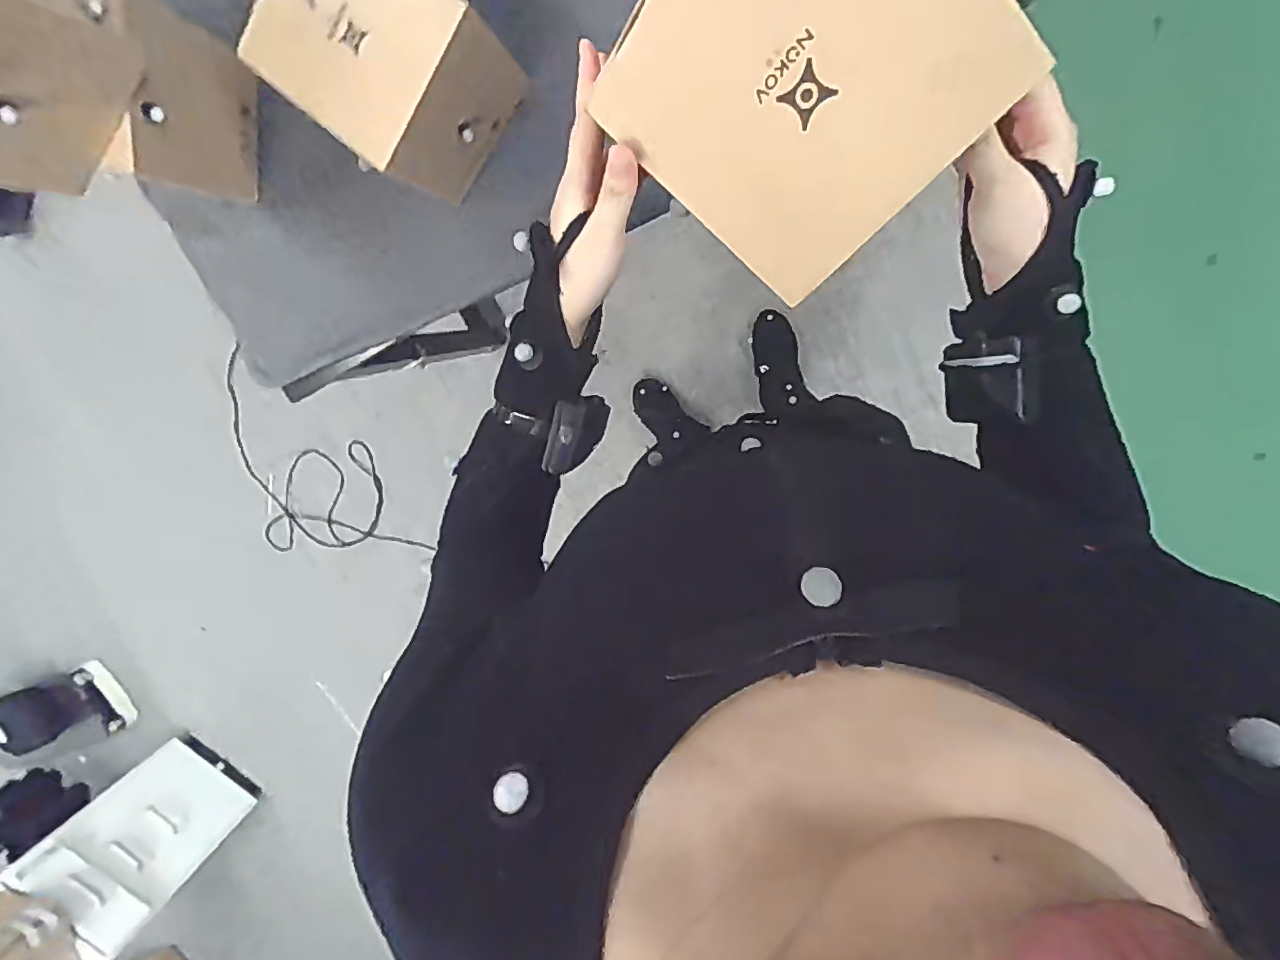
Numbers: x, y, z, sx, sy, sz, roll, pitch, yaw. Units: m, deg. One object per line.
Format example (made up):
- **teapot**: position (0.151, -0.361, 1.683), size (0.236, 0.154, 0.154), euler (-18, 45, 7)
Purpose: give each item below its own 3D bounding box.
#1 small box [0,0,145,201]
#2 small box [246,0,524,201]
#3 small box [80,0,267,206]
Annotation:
- **small box**: position (-0.599, -0.381, 0.471), size (0.168, 0.176, 0.179), euler (44, 108, -7)
- **small box**: position (-0.254, -0.429, 0.578), size (0.179, 0.176, 0.168), euler (38, 107, -4)
- **small box**: position (-0.579, -0.433, 0.626), size (0.179, 0.176, 0.168), euler (15, 109, 3)
